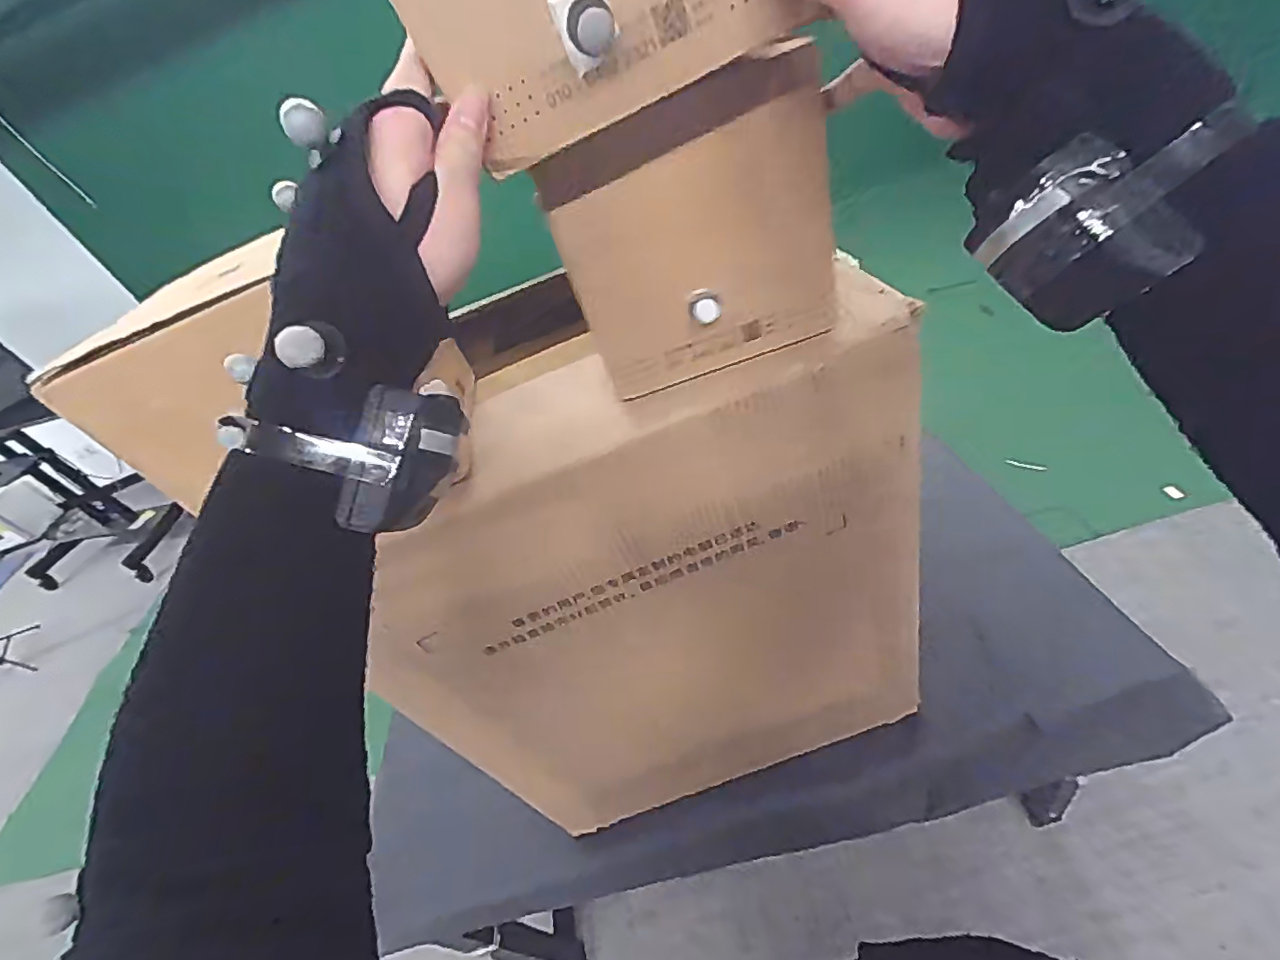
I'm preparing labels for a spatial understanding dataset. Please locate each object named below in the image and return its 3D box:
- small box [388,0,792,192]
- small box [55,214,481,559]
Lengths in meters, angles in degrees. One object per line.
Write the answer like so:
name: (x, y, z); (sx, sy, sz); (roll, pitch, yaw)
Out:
small box: (-0.043, -0.277, 0.270); (0.168, 0.176, 0.179); (-24, 44, 8)
small box: (-0.246, -0.068, 0.416); (0.179, 0.176, 0.168); (-23, 40, 4)
